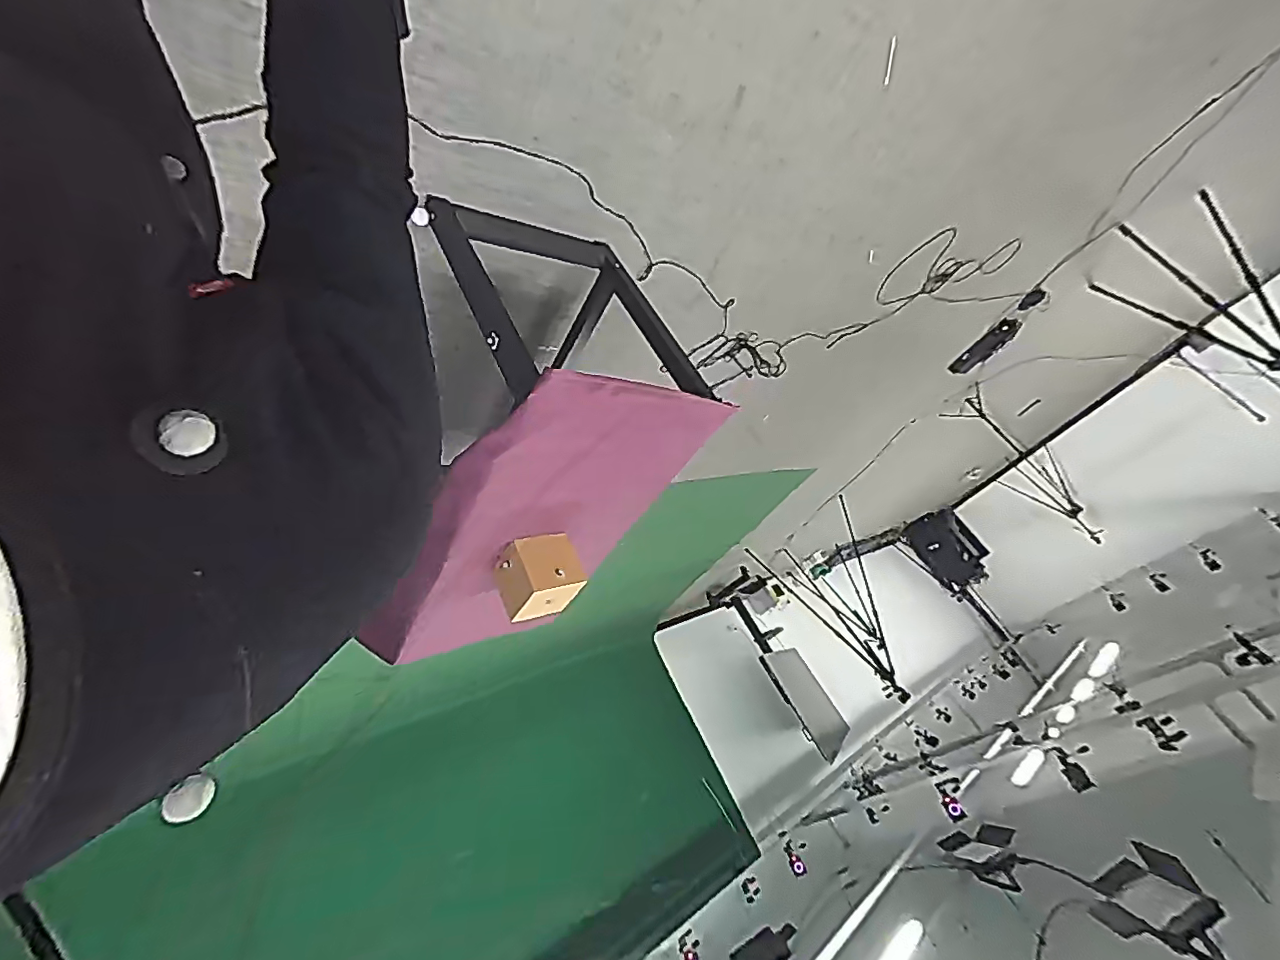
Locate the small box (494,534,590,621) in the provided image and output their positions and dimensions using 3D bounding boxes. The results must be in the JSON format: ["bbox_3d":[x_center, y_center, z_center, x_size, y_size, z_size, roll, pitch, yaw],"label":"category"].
[{"bbox_3d":[-0.275,0.263,1.504,0.179,0.176,0.168,-2,142,-44],"label":"small box"}]
